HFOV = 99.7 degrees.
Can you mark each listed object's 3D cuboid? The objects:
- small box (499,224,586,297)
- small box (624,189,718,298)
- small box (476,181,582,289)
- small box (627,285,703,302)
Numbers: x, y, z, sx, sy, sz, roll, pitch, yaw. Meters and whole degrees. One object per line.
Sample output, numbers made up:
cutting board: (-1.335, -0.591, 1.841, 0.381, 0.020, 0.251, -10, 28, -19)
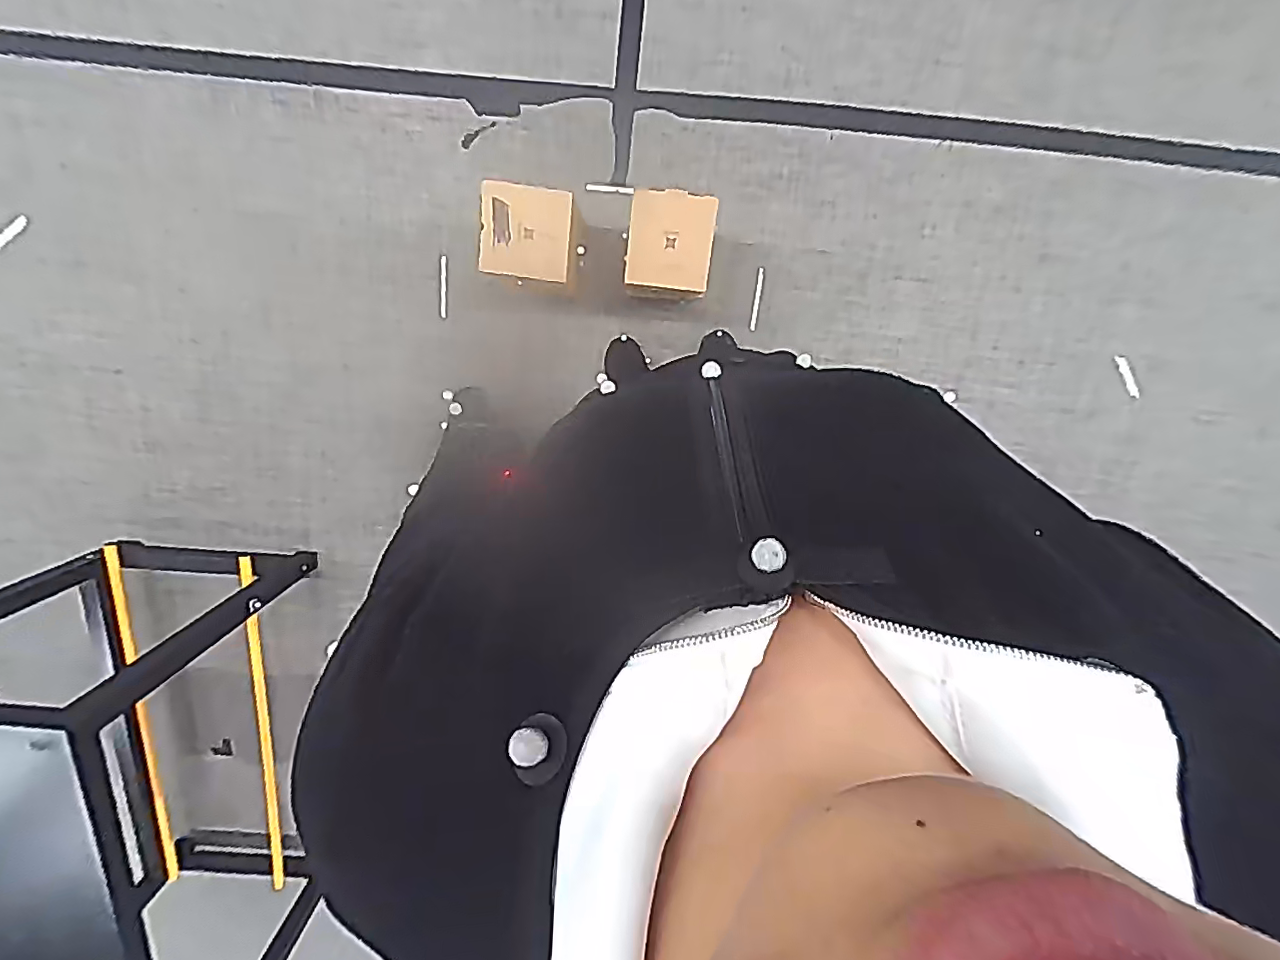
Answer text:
small box: (-0.225, -0.532, 1.272, 0.168, 0.176, 0.179, 8, 107, -1)
small box: (0.058, -0.480, 1.119, 0.168, 0.176, 0.179, 6, 107, -1)
small box: (-0.222, -0.493, 1.112, 0.179, 0.176, 0.168, 7, 106, -2)
small box: (0.061, -0.514, 1.278, 0.179, 0.176, 0.168, 4, 106, -1)
